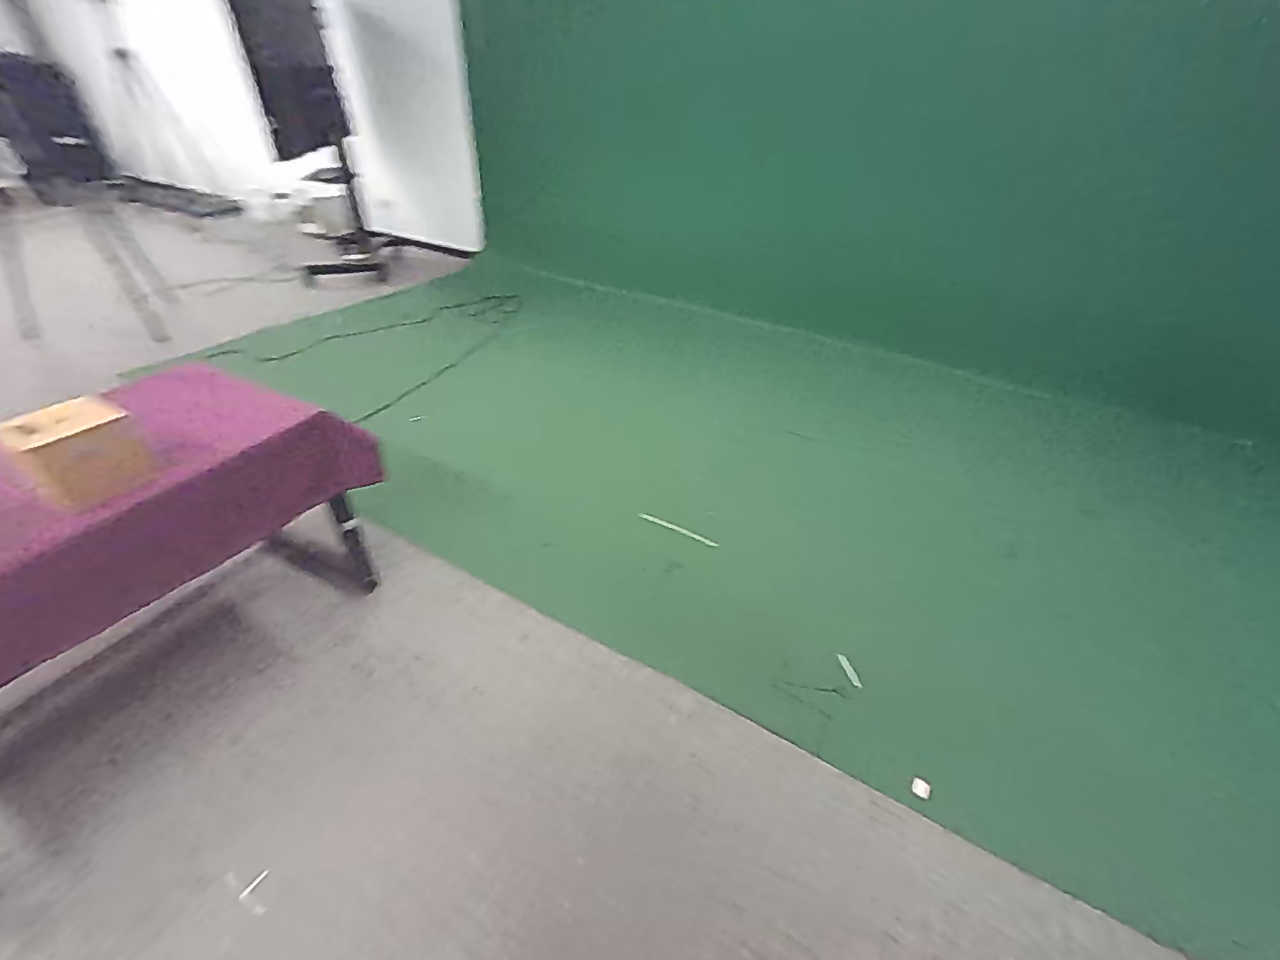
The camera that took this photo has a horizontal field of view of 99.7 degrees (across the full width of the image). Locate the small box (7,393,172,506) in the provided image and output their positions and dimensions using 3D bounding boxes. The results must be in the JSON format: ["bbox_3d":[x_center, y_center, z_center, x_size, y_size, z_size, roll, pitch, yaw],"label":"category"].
[{"bbox_3d":[-1.213,-0.068,1.205,0.168,0.176,0.179,20,40,21],"label":"small box"}]
